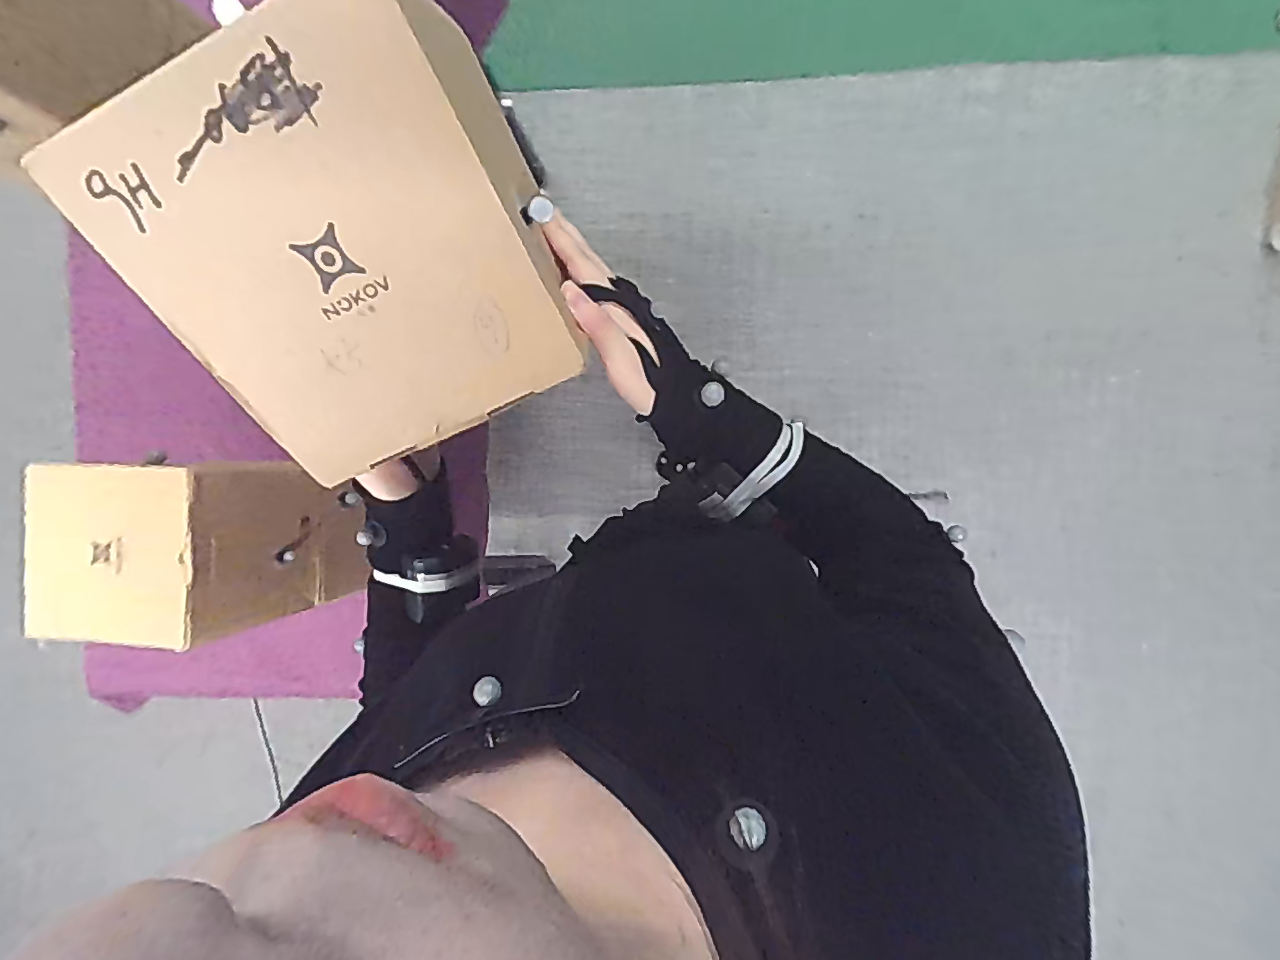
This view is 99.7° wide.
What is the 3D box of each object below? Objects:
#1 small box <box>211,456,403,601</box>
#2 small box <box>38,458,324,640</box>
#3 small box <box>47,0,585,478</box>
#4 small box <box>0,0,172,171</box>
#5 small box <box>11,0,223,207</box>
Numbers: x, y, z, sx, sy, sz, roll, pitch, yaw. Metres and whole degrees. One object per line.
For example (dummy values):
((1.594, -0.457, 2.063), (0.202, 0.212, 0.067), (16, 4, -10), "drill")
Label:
((-0.449, 0.057, 0.748), (0.168, 0.176, 0.179), (1, 92, 9), "small box")
((-0.482, 0.063, 0.589), (0.179, 0.176, 0.168), (1, 91, 7), "small box")
((-0.139, -0.136, 0.317), (0.168, 0.176, 0.179), (-22, 122, 9), "small box")
((-0.511, -0.359, 0.416), (0.168, 0.176, 0.179), (5, 92, 6), "small box")
((-0.495, -0.362, 0.578), (0.179, 0.176, 0.168), (4, 92, 8), "small box")
